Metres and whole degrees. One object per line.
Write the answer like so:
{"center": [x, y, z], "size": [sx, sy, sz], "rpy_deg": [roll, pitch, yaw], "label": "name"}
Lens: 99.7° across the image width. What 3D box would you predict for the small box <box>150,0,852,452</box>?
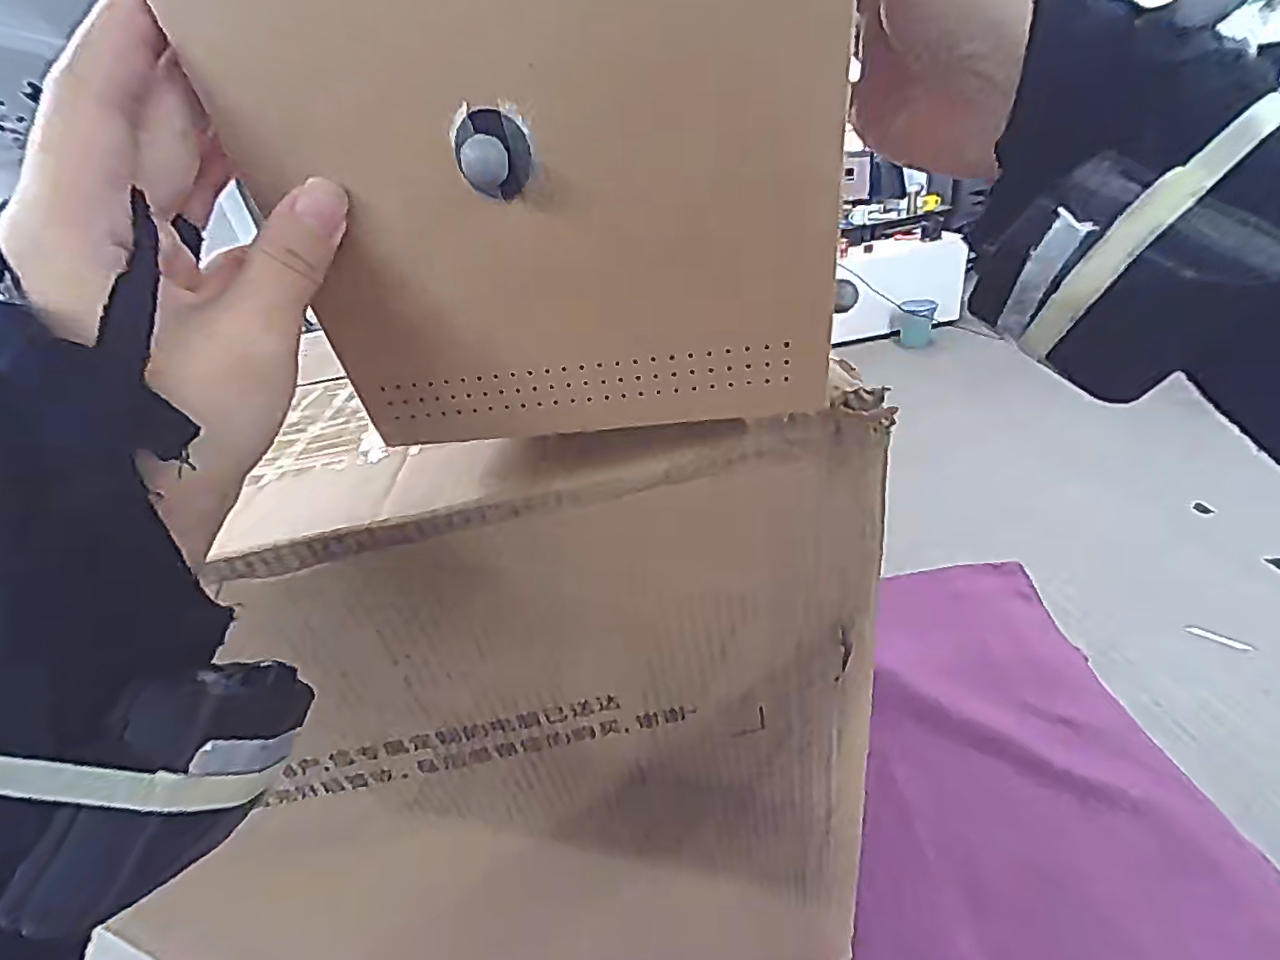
{"center": [-0.022, -0.128, 0.221], "size": [0.179, 0.176, 0.168], "rpy_deg": [-5, 38, 9], "label": "small box"}
